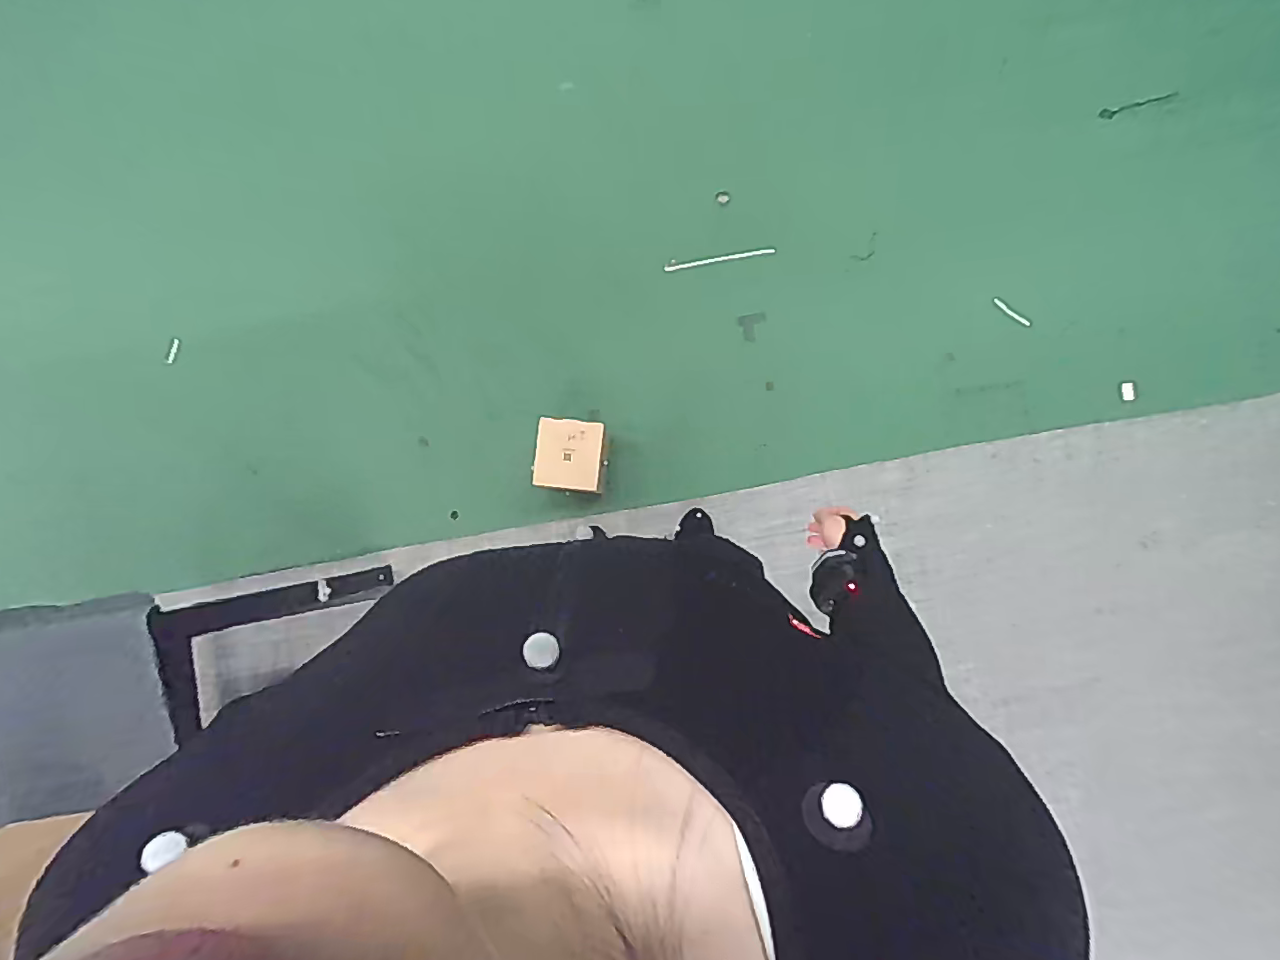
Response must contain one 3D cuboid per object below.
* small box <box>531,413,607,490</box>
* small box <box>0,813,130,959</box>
[{"bbox_3d":[-0.180,-0.069,1.425,0.168,0.176,0.179,6,87,1],"label":"small box"},{"bbox_3d":[-0.802,0.555,0.686,0.179,0.176,0.168,-11,87,3],"label":"small box"}]
